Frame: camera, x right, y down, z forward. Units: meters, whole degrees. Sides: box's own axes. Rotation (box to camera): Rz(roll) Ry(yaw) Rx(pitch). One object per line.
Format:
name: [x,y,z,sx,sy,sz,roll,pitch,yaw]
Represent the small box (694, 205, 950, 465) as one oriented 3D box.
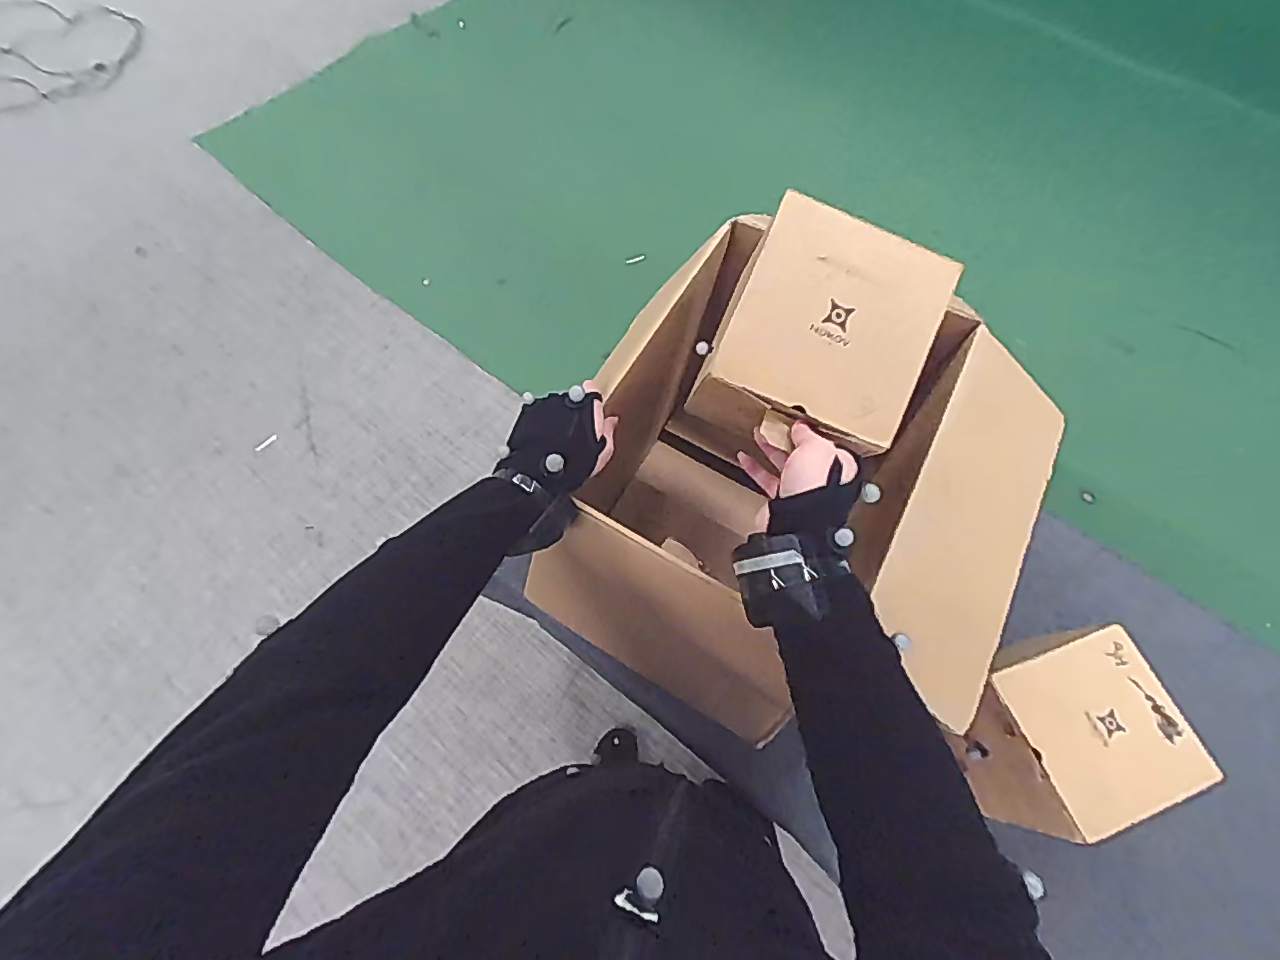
small box: [0.163,-0.126,0.548,0.168,0.176,0.179,23,85,-1]
